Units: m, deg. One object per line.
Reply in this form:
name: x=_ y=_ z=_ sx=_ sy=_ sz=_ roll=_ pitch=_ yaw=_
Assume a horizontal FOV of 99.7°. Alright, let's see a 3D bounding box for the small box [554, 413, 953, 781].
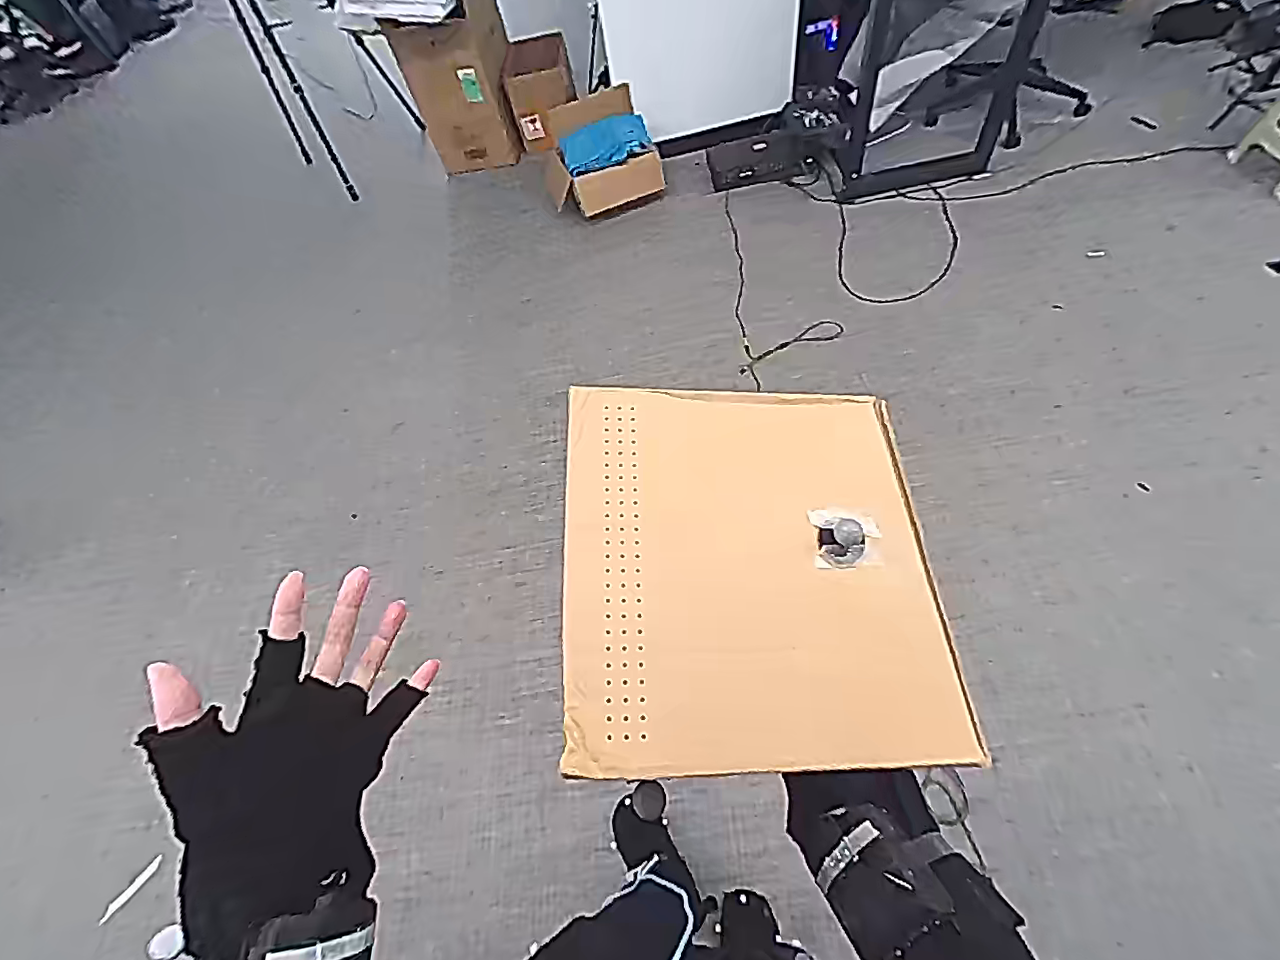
small box: x=0.037 y=0.074 z=0.322 sx=0.176 sy=0.168 sz=0.179 roll=0 pitch=62 yaw=-5
